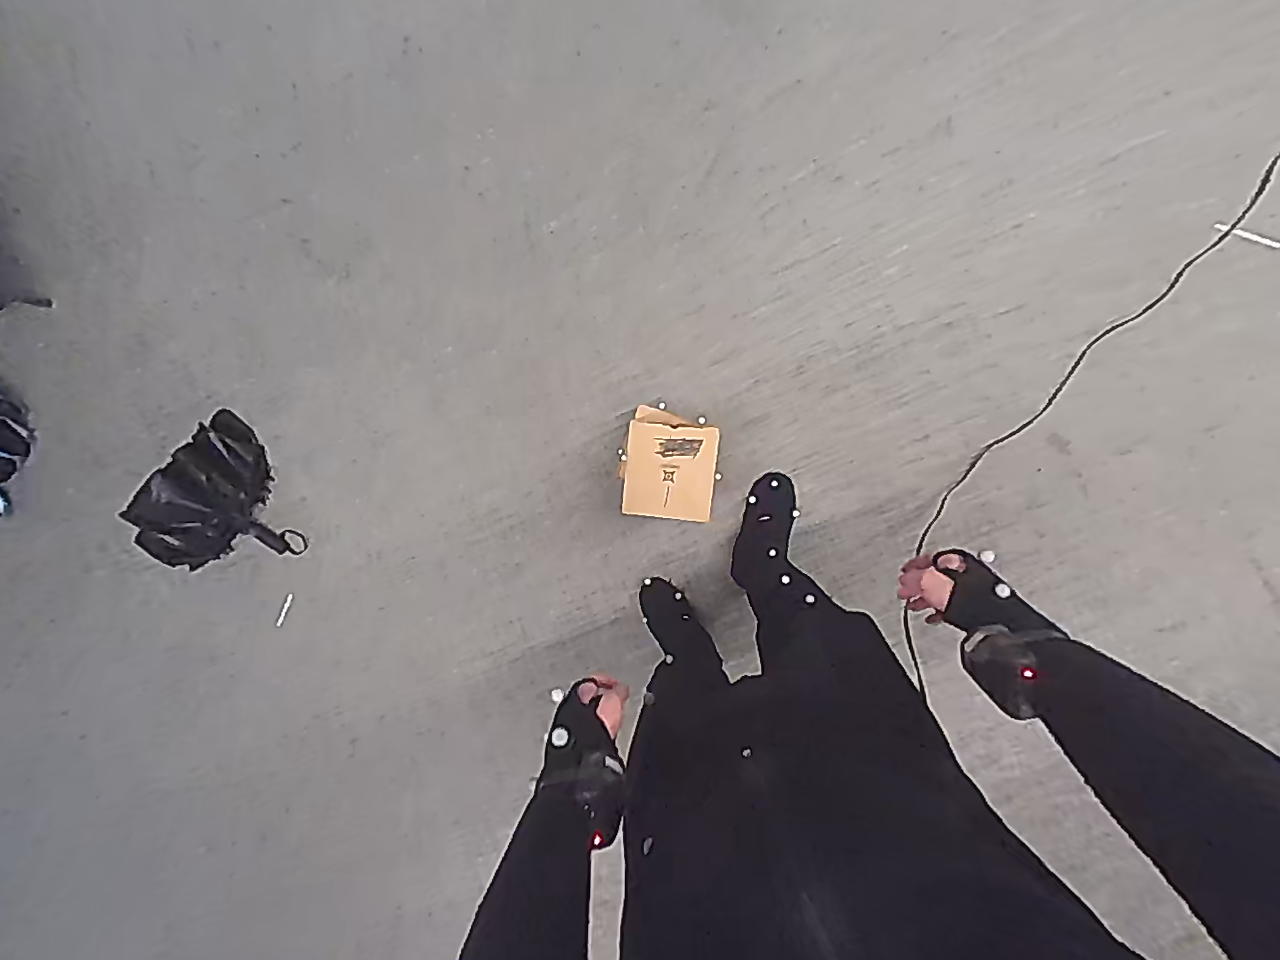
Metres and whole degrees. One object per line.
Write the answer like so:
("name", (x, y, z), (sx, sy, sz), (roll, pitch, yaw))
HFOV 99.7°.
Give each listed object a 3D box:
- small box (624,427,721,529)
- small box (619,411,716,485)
("small box", (0.066, -0.012, 1.074), (0.168, 0.176, 0.179), (6, 98, 6))
("small box", (0.066, -0.053, 1.235), (0.179, 0.176, 0.168), (18, 98, 2))
